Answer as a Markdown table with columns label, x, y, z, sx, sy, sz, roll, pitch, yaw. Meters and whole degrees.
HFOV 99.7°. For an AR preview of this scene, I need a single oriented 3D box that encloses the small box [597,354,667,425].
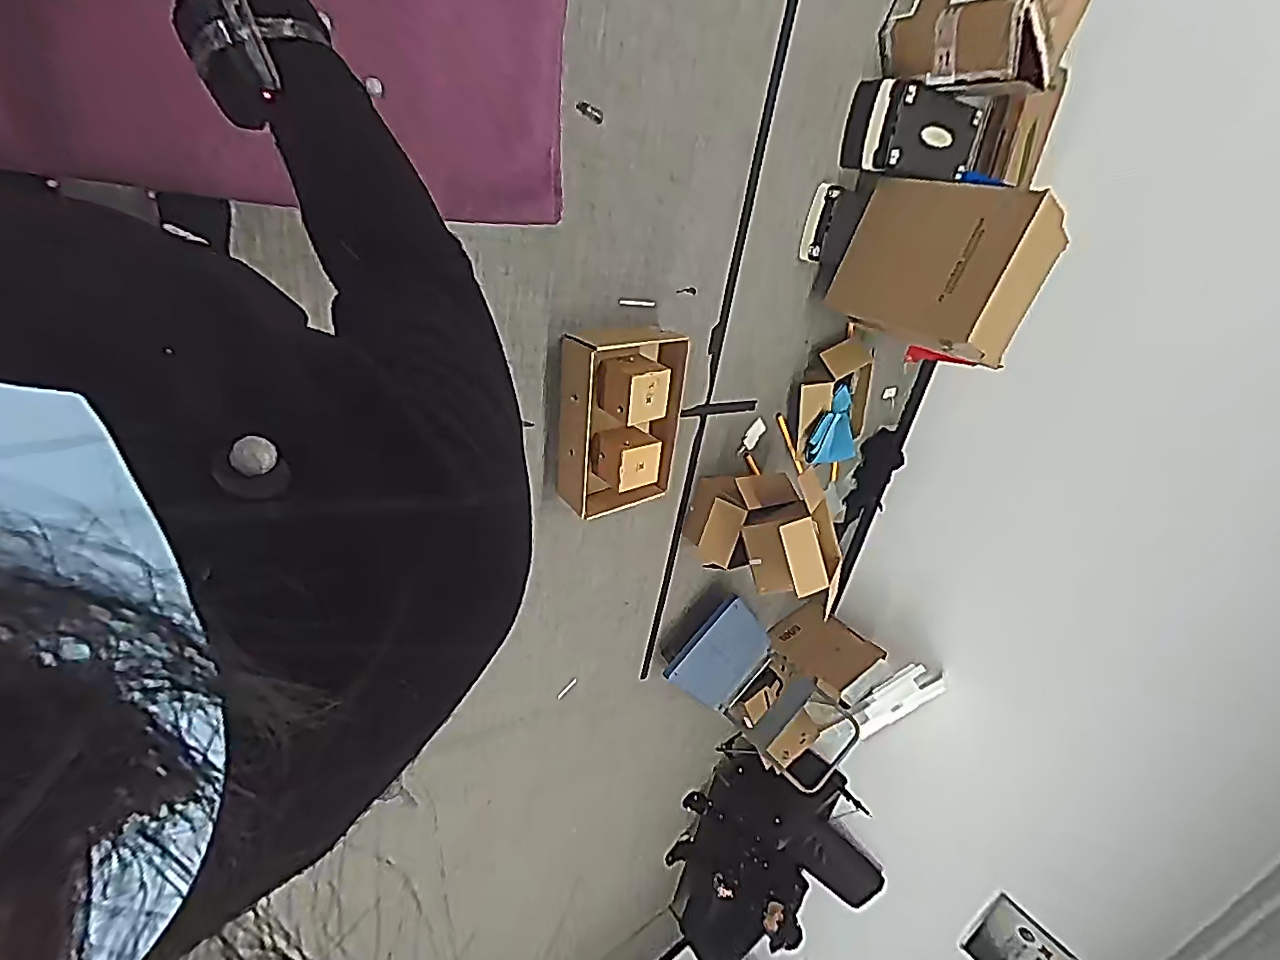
| label | x | y | z | sx | sy | sz | roll | pitch | yaw |
| --- | --- | --- | --- | --- | --- | --- | --- | --- | --- |
| small box | -0.032 | -0.309 | 1.820 | 0.168 | 0.176 | 0.179 | -19 | 129 | -35 |

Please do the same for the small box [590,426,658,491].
| label | x | y | z | sx | sy | sz | roll | pitch | yaw |
| --- | --- | --- | --- | --- | --- | --- | --- | --- | --- |
| small box | -0.060 | -0.084 | 1.947 | 0.179 | 0.176 | 0.168 | -16 | 126 | -35 |
